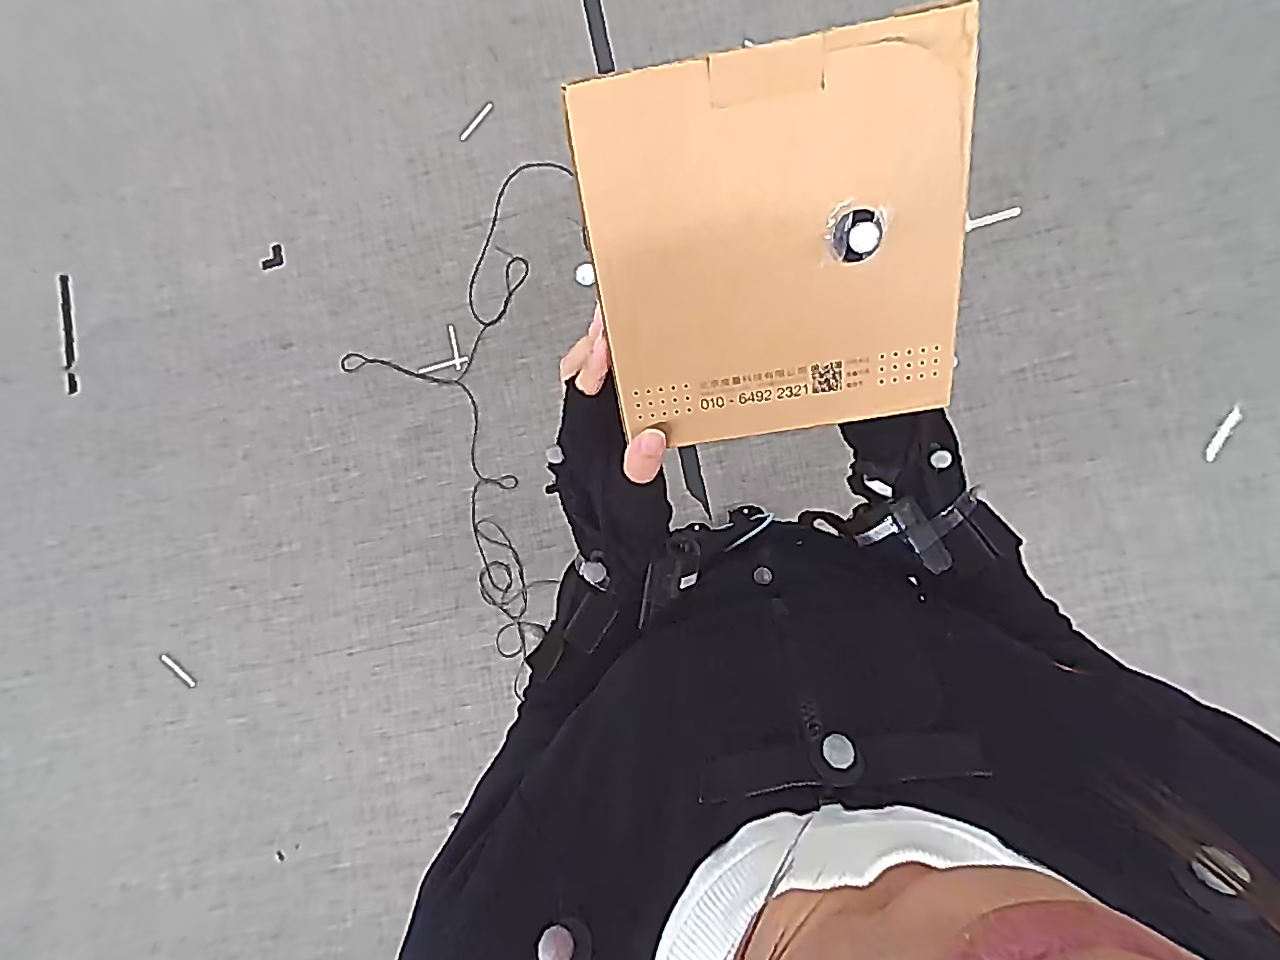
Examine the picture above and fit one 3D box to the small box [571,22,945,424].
[{"bbox_3d":[0.066,-0.140,0.340,0.168,0.179,0.176,-7,115,6],"label":"small box"}]
